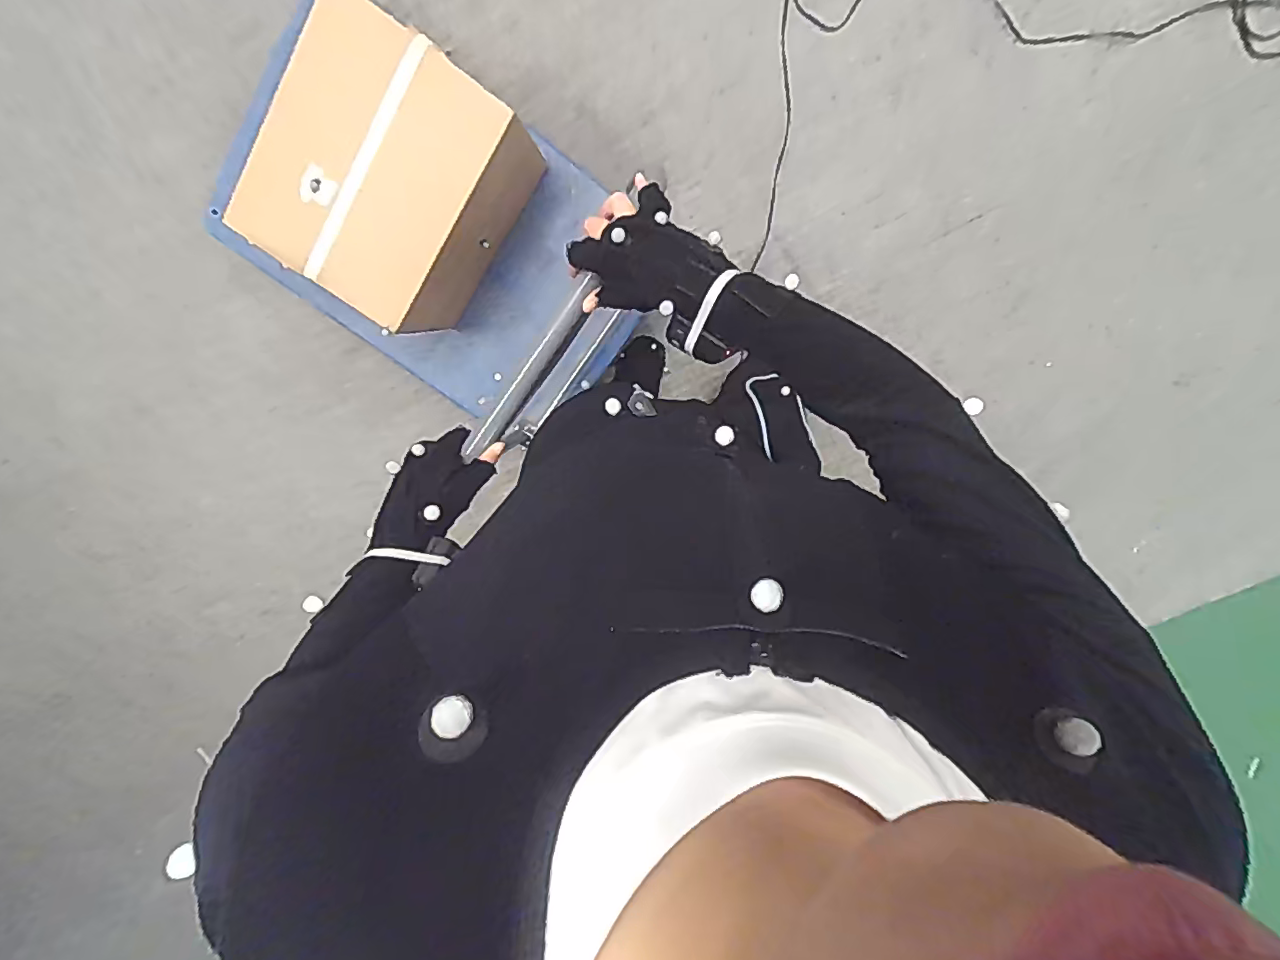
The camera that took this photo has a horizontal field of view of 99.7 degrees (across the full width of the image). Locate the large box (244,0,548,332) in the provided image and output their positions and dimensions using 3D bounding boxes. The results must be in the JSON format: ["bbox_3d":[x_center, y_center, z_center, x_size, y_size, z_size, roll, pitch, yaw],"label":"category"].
[{"bbox_3d":[-0.420,-0.541,1.010,0.320,0.320,0.408,34,105,-9],"label":"large box"}]
